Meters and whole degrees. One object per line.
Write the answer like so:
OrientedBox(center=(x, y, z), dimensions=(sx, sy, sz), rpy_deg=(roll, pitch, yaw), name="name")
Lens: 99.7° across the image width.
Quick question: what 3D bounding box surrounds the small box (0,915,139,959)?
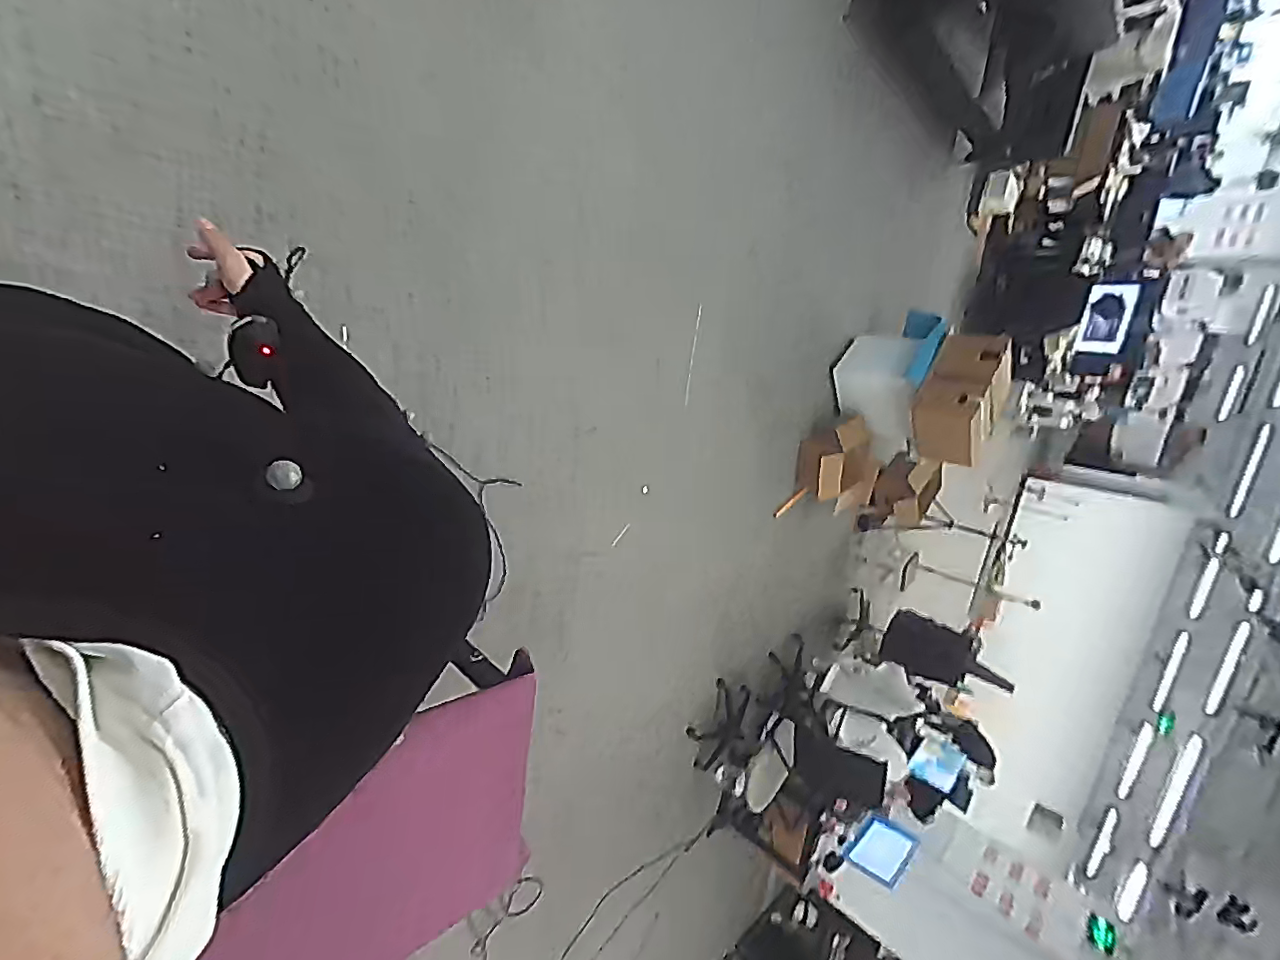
OrientedBox(center=(-0.804, 0.754, 0.730), dimensions=(0.179, 0.176, 0.168), rpy_deg=(9, 99, -49), name="small box")
